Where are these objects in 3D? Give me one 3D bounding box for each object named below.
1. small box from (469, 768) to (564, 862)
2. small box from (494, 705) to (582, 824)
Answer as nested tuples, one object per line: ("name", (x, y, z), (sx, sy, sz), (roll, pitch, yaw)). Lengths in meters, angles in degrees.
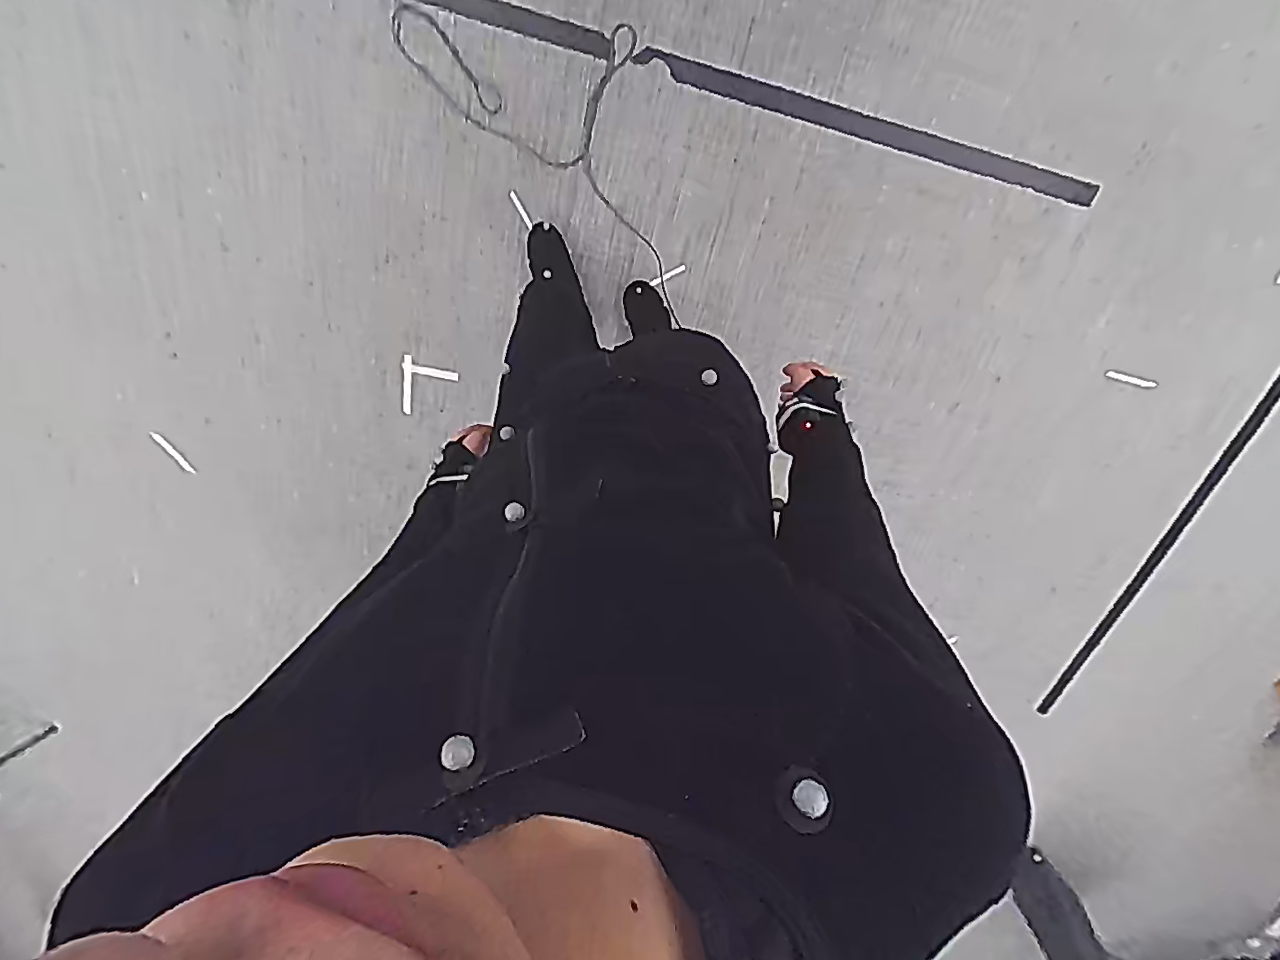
("small box", (-0.254, 0.721, 1.095), (0.168, 0.176, 0.179), (14, 114, -5))
("small box", (-0.237, 0.646, 1.239), (0.179, 0.176, 0.168), (13, 113, -4))
